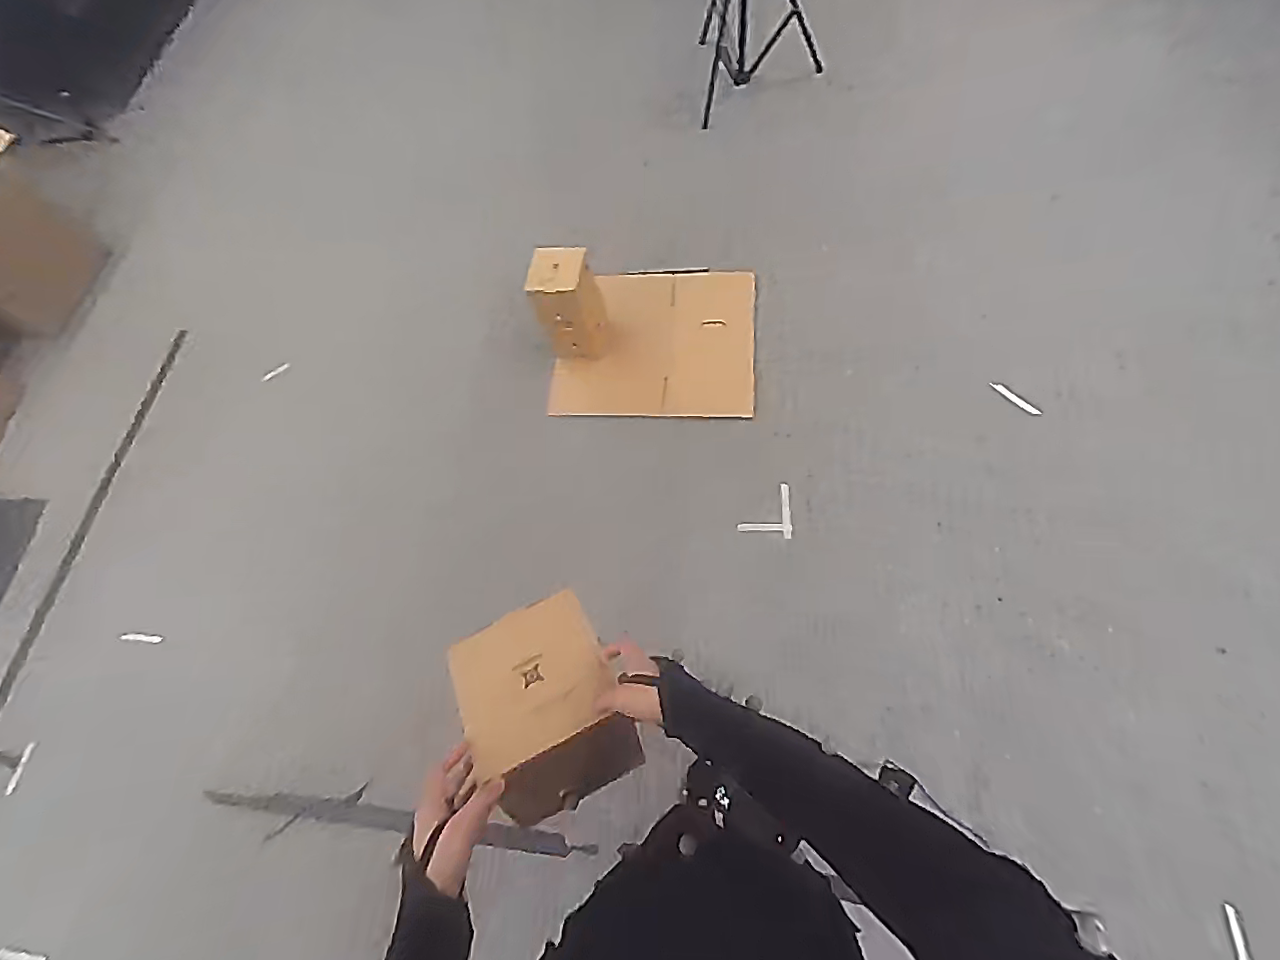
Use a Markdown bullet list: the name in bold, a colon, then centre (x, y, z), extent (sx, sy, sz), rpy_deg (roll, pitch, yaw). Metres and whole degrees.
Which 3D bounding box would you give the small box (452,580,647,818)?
- **small box**: centre (-0.104, 0.259, 0.645), extent (0.168, 0.176, 0.179), rpy_deg (-22, 45, -12)

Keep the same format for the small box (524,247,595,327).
- **small box**: centre (-0.248, -0.611, 1.718), extent (0.168, 0.176, 0.179), rpy_deg (4, 68, 12)

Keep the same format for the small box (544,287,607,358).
- **small box**: centre (-0.215, -0.539, 1.864), extent (0.168, 0.176, 0.179), rpy_deg (3, 68, 10)
